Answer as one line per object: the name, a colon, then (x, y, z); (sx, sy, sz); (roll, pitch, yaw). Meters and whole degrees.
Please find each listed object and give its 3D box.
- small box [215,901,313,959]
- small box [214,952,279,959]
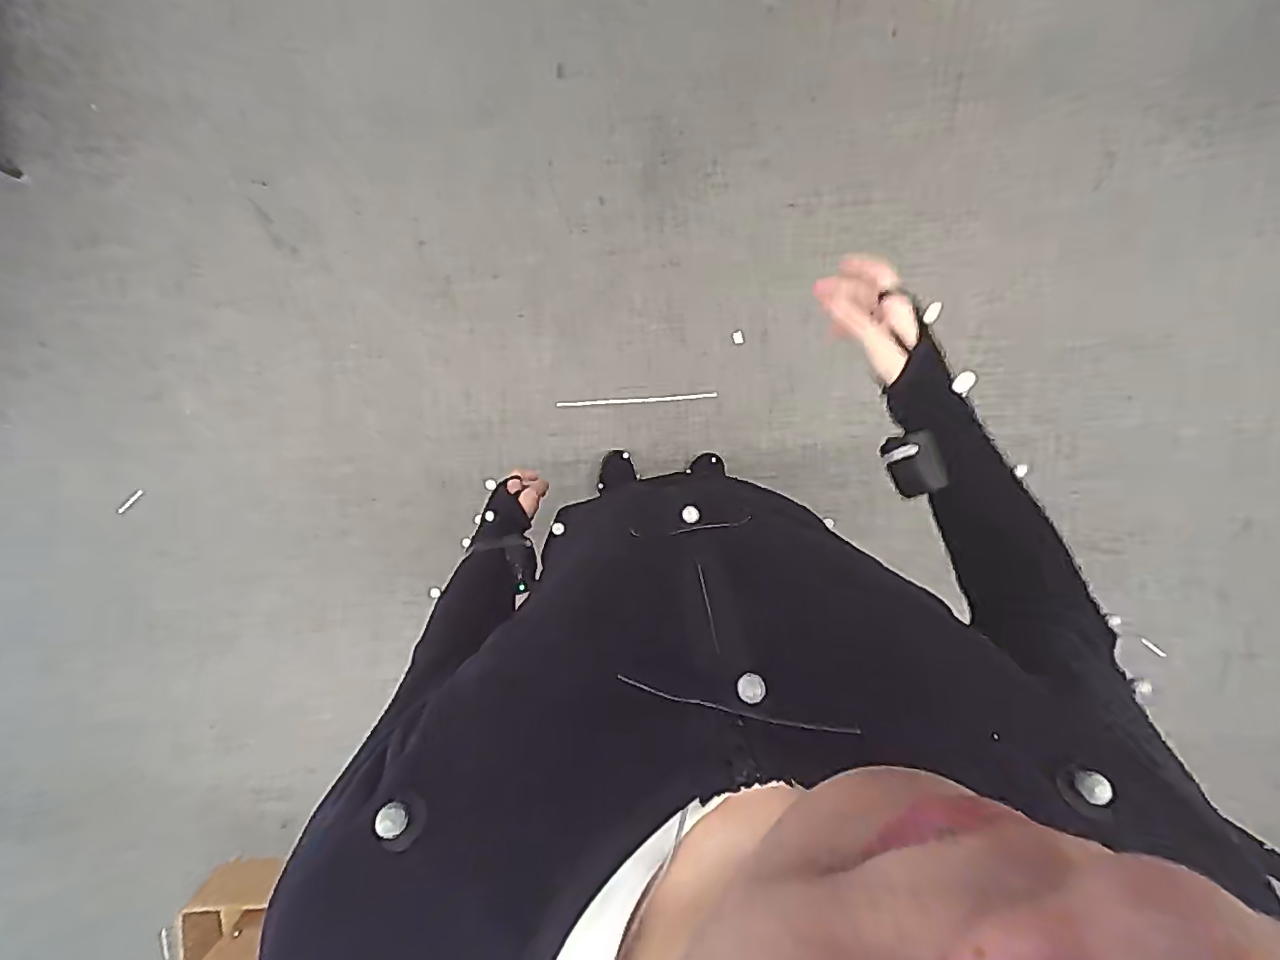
small box: (-1.080, 1.369, 1.571); (0.179, 0.176, 0.168); (-3, 93, 0)
small box: (-1.081, 1.380, 1.408); (0.179, 0.176, 0.168); (0, 95, -1)
